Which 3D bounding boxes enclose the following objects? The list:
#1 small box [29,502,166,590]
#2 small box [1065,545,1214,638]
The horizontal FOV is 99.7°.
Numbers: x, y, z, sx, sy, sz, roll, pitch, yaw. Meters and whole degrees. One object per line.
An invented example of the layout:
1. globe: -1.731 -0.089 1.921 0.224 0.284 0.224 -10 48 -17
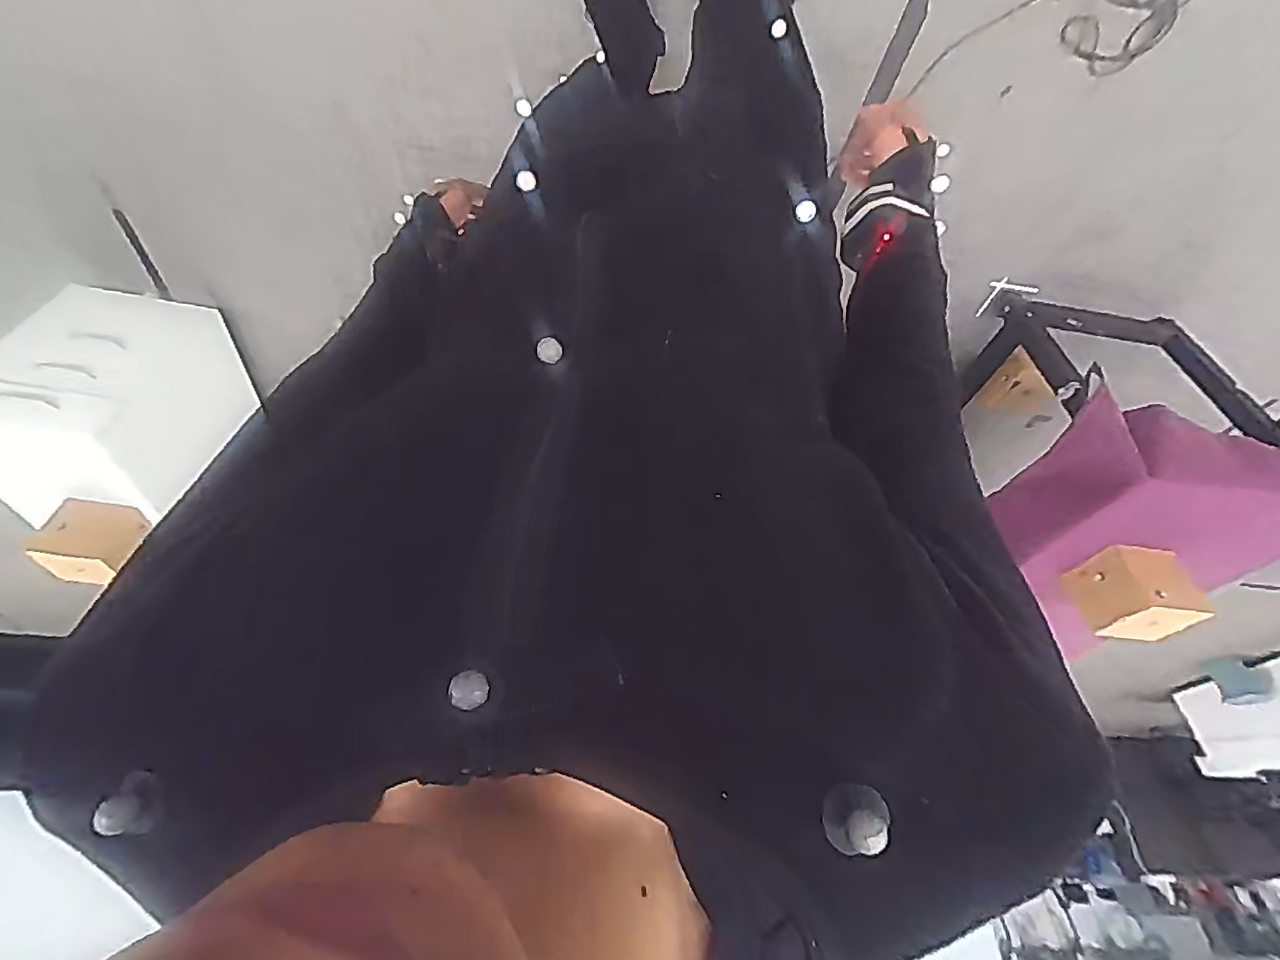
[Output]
1. small box: -1.470 0.179 1.482 0.179 0.176 0.168 9 141 -9
2. small box: 1.218 0.275 1.334 0.179 0.176 0.168 7 141 -7
